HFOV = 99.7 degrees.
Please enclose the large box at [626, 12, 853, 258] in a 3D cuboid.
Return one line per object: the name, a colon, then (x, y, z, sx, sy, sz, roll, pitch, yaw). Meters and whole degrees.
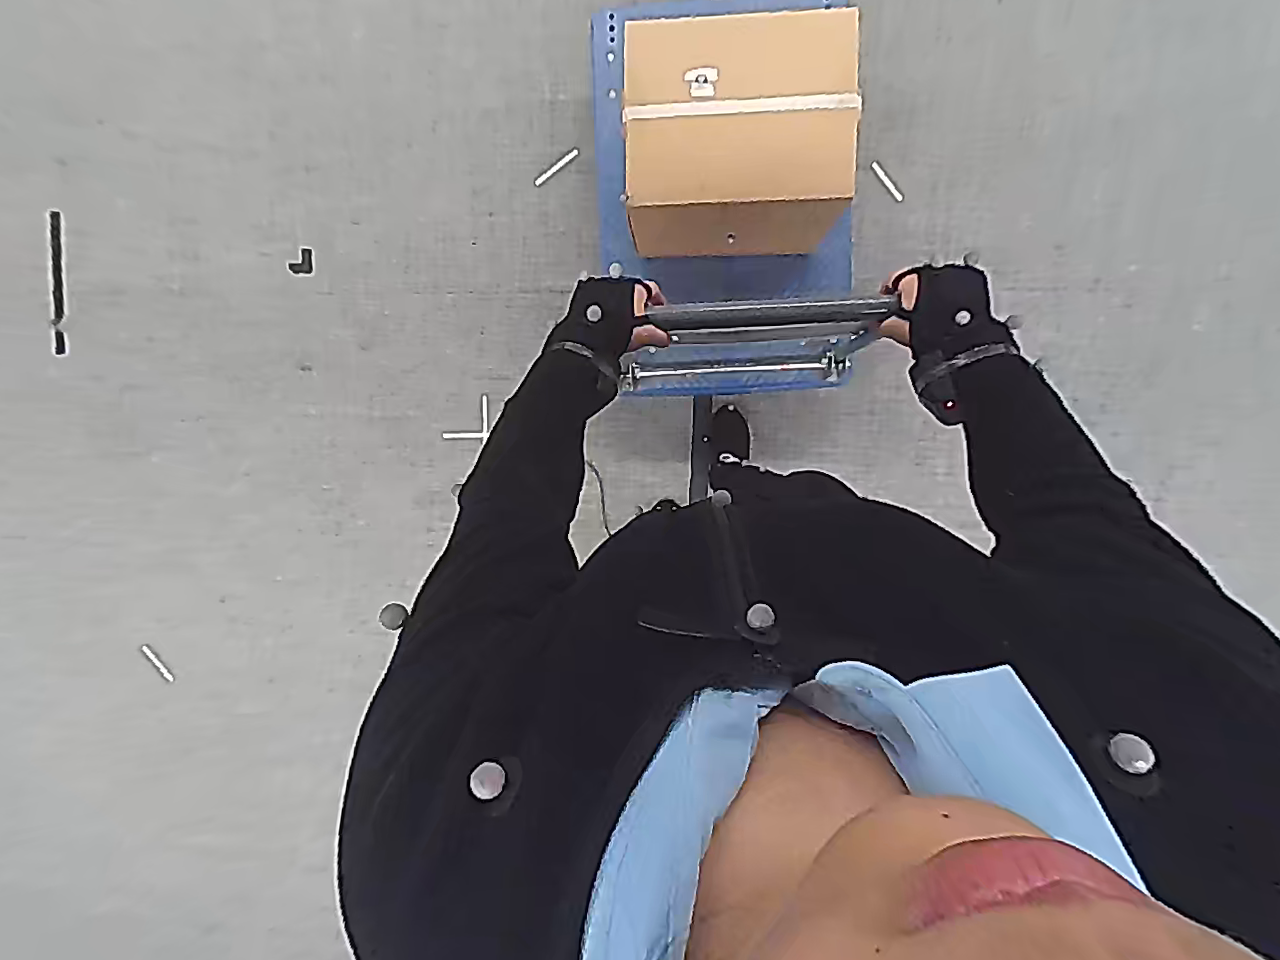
large box: (0.190, -0.667, 1.111, 0.408, 0.320, 0.320, 0, 94, 5)
